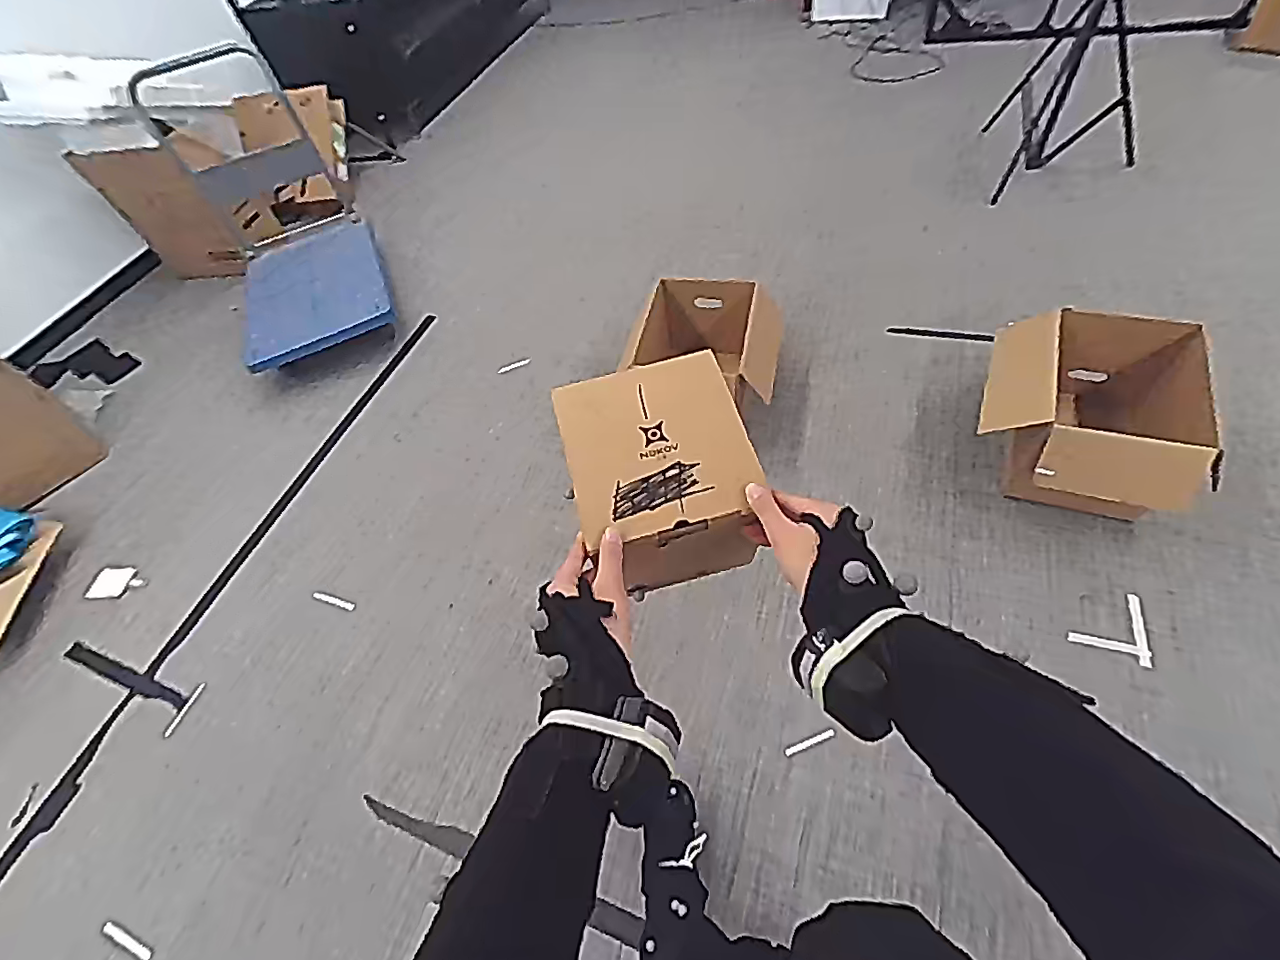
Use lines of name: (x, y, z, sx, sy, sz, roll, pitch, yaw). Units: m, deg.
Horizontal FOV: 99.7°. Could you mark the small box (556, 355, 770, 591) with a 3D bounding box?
small box: (0.021, 0.005, 0.567, 0.168, 0.176, 0.179, -15, 62, -3)
